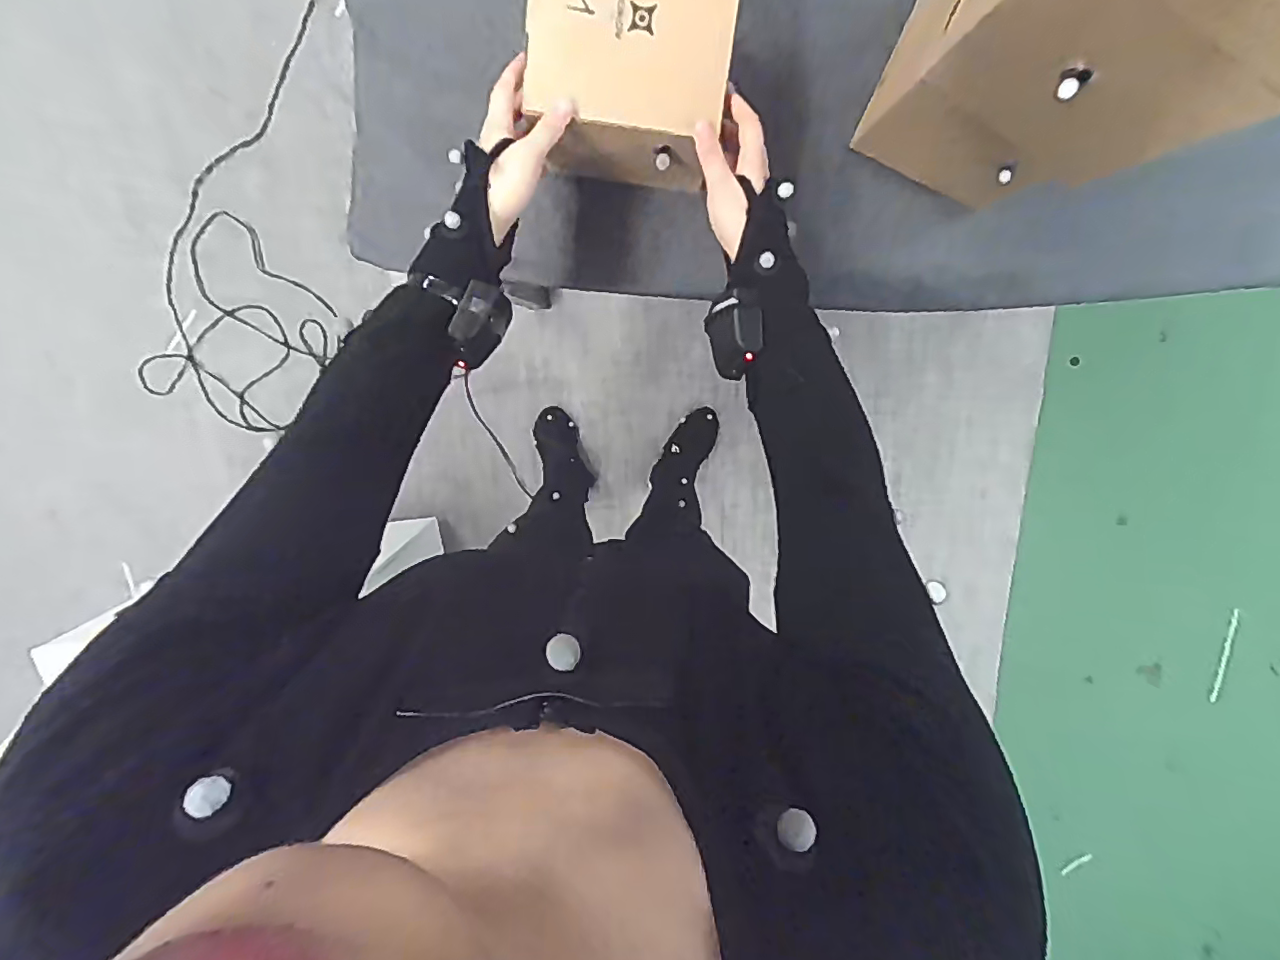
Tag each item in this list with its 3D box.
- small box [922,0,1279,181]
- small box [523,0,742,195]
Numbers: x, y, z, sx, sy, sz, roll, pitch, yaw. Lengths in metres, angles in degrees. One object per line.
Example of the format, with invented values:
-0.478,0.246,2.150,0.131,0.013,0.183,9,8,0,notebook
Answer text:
0.348,-0.341,0.375,0.179,0.176,0.168,30,101,-6,small box
-0.006,-0.397,0.532,0.179,0.176,0.168,8,103,-2,small box
